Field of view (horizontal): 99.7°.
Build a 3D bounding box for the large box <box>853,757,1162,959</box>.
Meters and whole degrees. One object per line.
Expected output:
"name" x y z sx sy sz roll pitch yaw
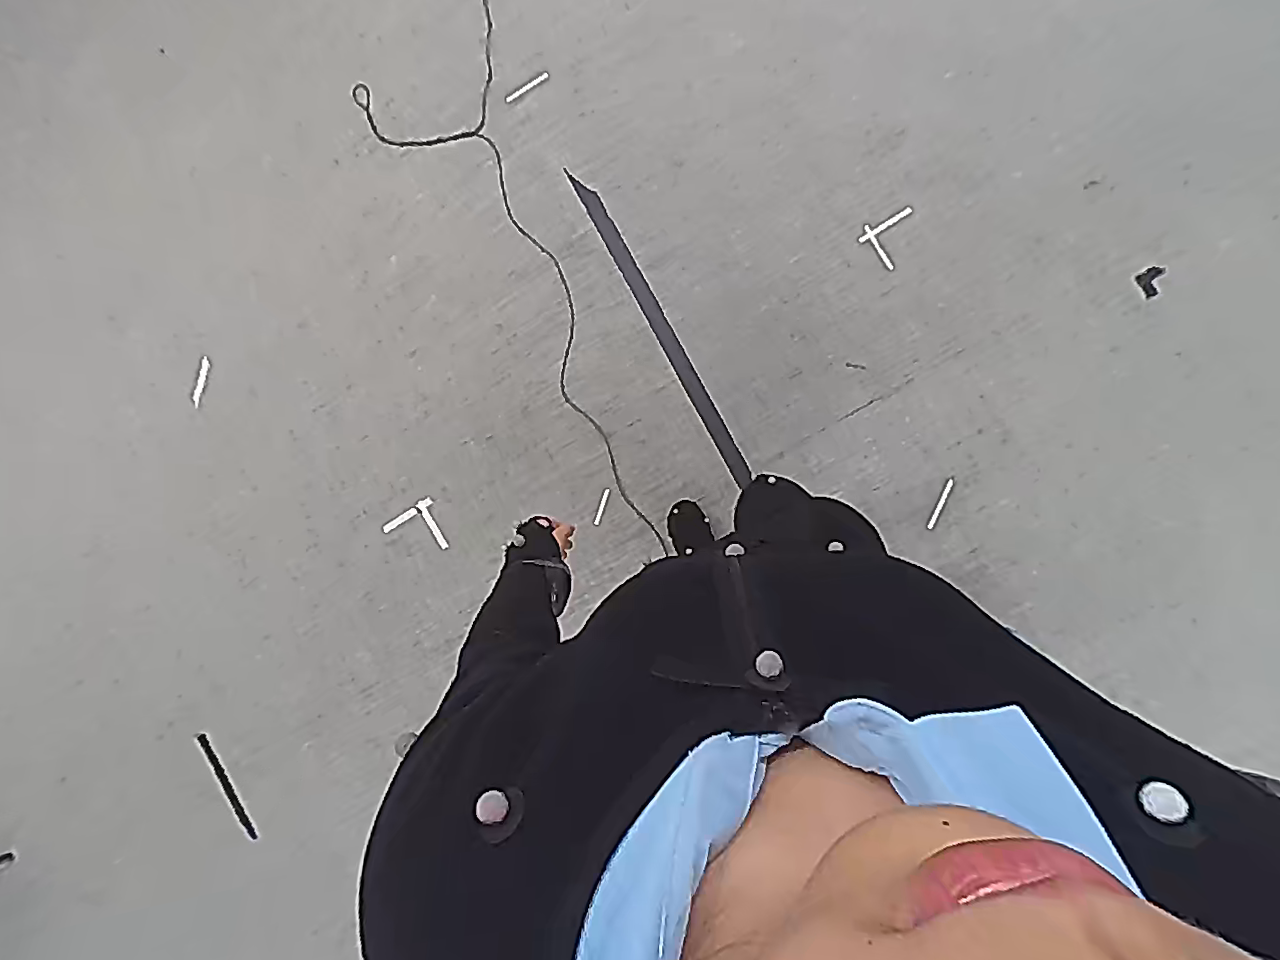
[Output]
"large box" 0.723 0.840 1.119 0.408 0.320 0.320 -18 88 6
